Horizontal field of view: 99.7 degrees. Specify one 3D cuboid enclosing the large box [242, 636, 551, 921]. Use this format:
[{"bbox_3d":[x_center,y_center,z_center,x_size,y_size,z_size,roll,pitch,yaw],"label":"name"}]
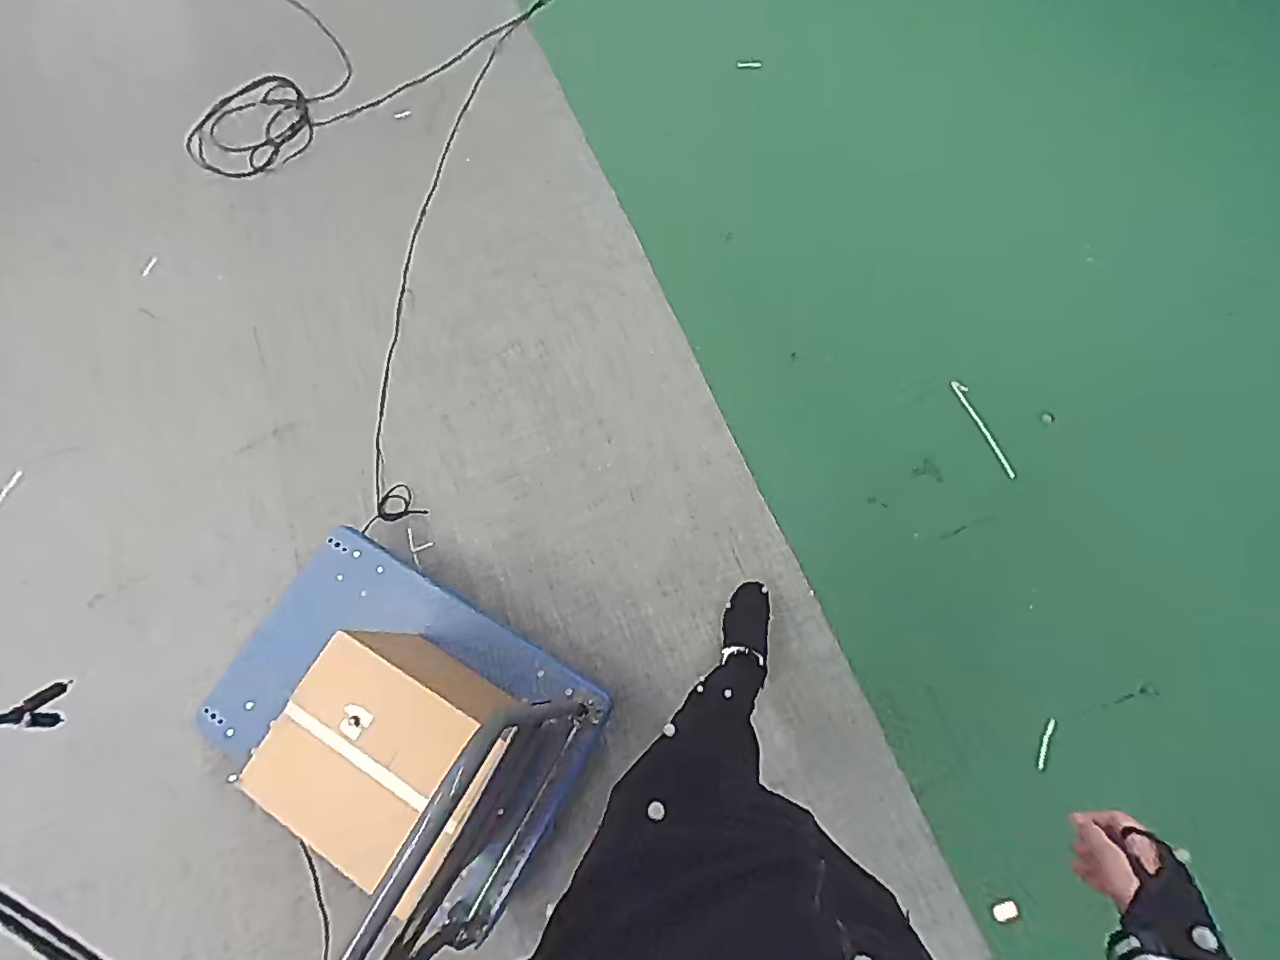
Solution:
[{"bbox_3d":[-0.456,0.554,1.098,0.408,0.320,0.320,27,76,14],"label":"large box"}]
